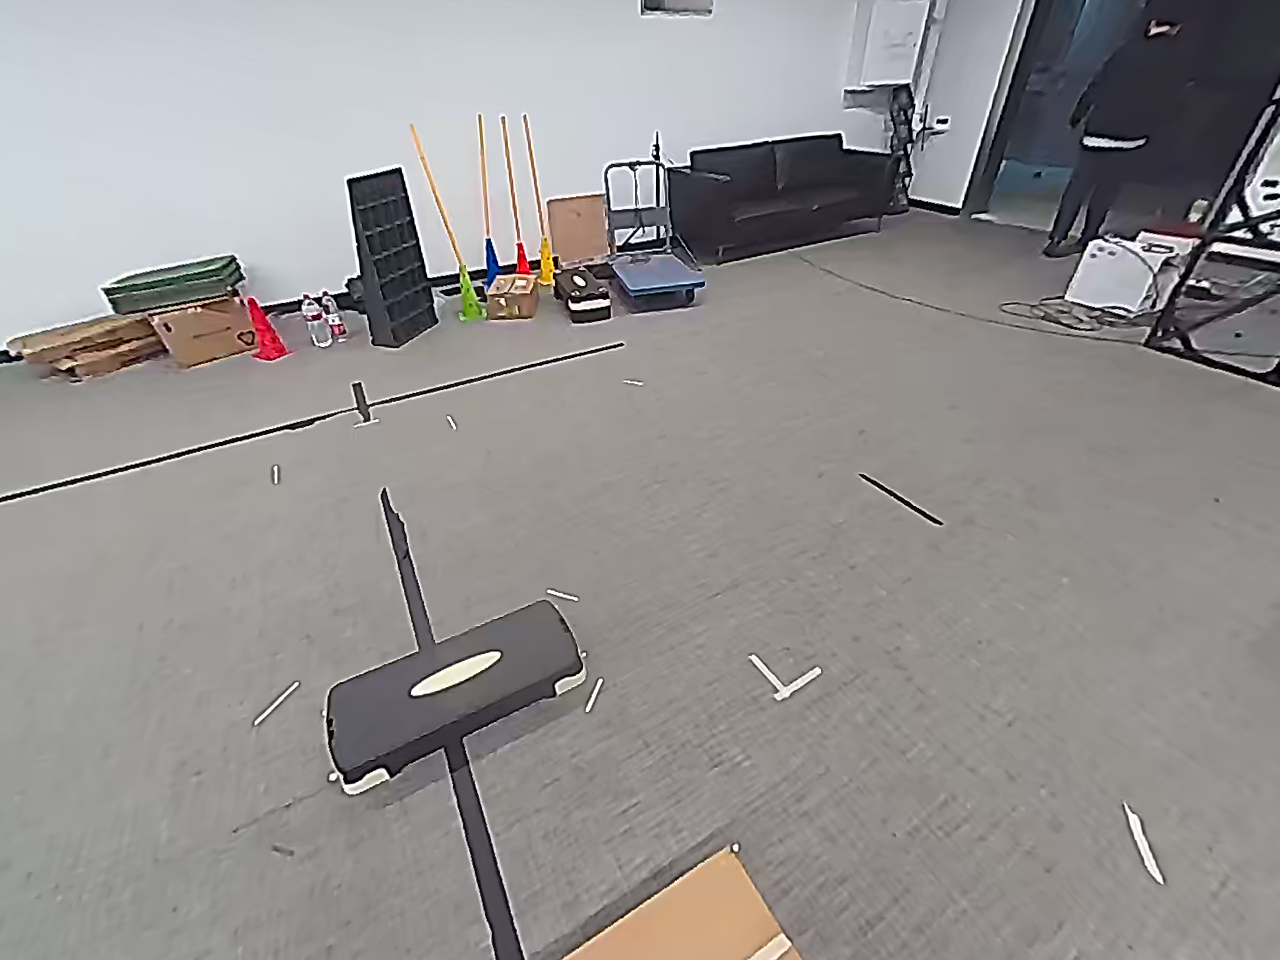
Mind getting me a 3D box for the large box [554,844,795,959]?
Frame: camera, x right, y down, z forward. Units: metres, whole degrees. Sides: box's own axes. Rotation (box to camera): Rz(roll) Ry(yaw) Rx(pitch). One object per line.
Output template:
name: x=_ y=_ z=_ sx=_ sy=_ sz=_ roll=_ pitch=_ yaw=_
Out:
large box: x=0.054 y=0.910 z=0.872 sx=0.408 sy=0.320 sz=0.320 roll=-18 pitch=40 yaw=-23
